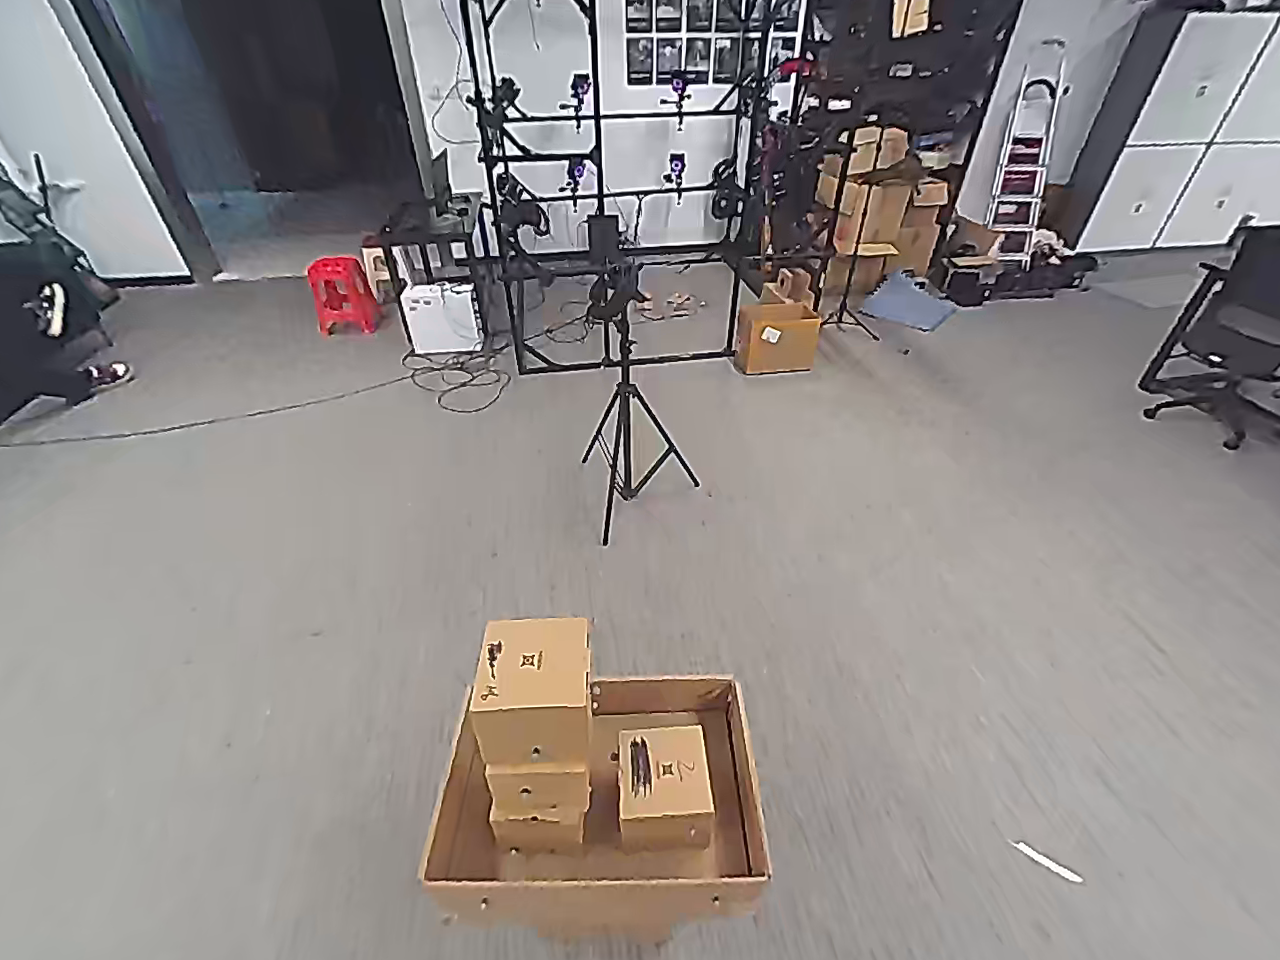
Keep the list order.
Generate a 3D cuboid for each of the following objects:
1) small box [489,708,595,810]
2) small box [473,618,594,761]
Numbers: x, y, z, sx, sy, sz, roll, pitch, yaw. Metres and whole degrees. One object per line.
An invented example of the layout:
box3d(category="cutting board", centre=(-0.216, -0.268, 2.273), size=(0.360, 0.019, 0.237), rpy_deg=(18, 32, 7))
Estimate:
box3d(category="small box", centre=(-0.171, 0.489, 1.002), size=(0.168, 0.176, 0.179), rpy_deg=(0, 37, -2))
box3d(category="small box", centre=(-0.167, 0.352, 0.910), size=(0.179, 0.176, 0.168), rpy_deg=(0, 37, -3))
